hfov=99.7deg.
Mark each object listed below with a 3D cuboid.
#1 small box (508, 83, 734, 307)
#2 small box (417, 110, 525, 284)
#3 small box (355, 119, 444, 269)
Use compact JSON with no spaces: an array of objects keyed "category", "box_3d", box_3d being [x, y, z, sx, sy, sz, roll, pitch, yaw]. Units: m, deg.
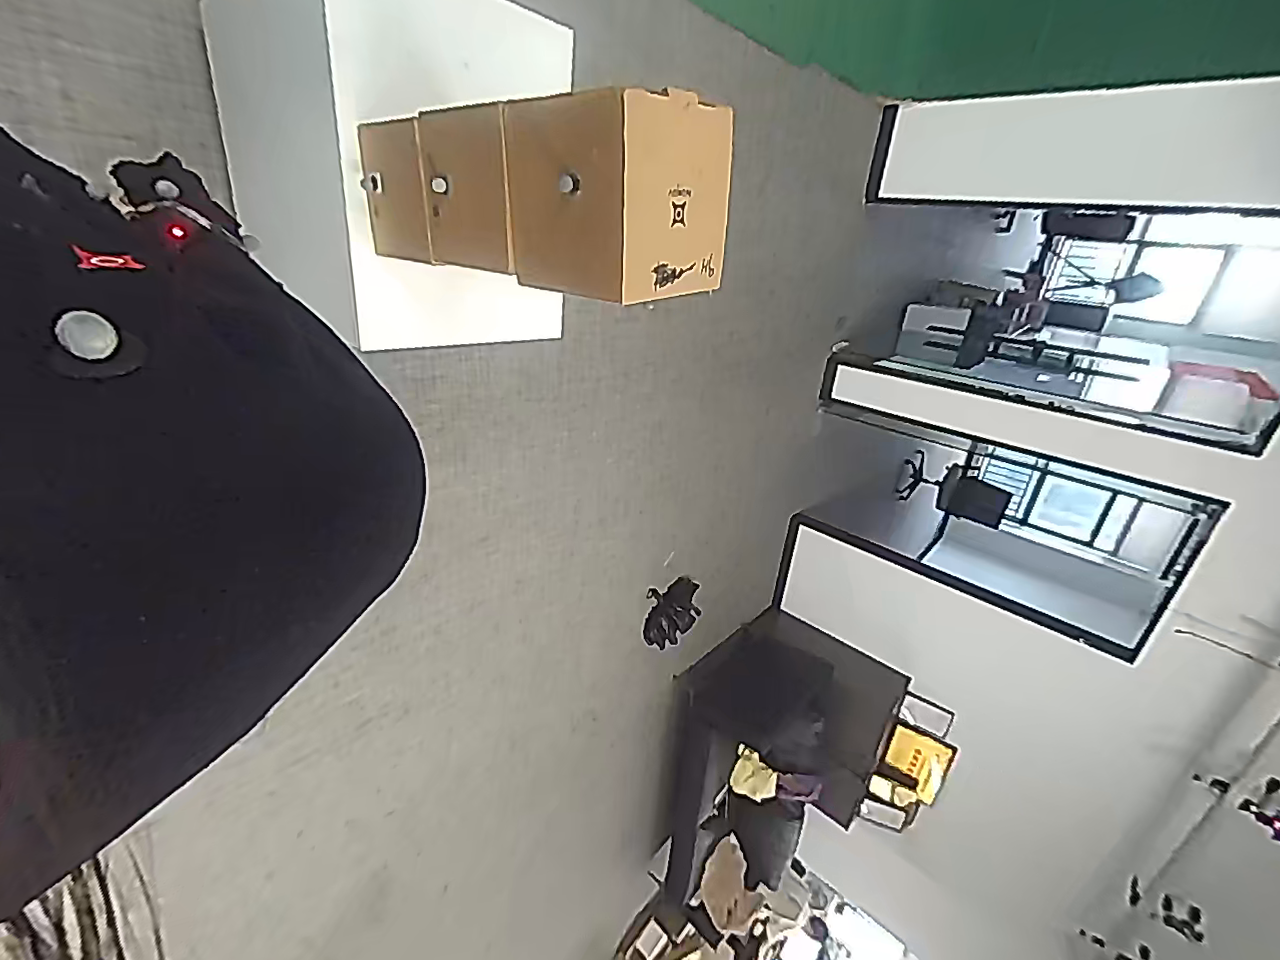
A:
[{"category":"small box","box_3d":[-0.022,-0.288,0.566,0.168,0.176,0.179,-26,128,-41]},{"category":"small box","box_3d":[-0.141,-0.344,0.664,0.179,0.176,0.168,-28,130,-42]},{"category":"small box","box_3d":[-0.265,-0.395,0.759,0.179,0.176,0.168,-24,126,-41]}]
